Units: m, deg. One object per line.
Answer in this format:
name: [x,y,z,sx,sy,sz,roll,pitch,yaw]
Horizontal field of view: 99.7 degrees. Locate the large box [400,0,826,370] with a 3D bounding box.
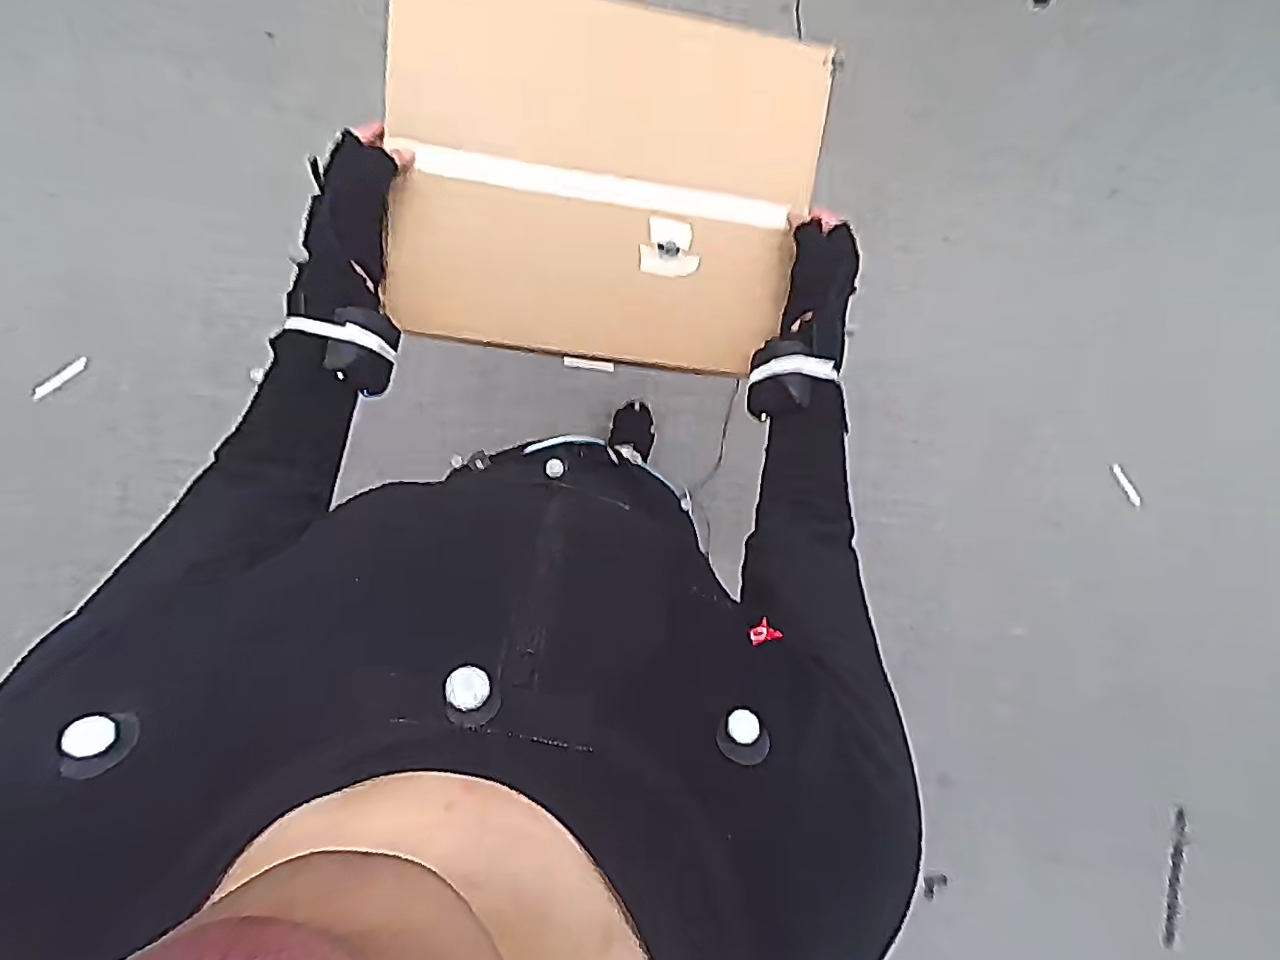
large box: [-0.047,-0.316,0.679,0.408,0.320,0.320,6,102,-8]
